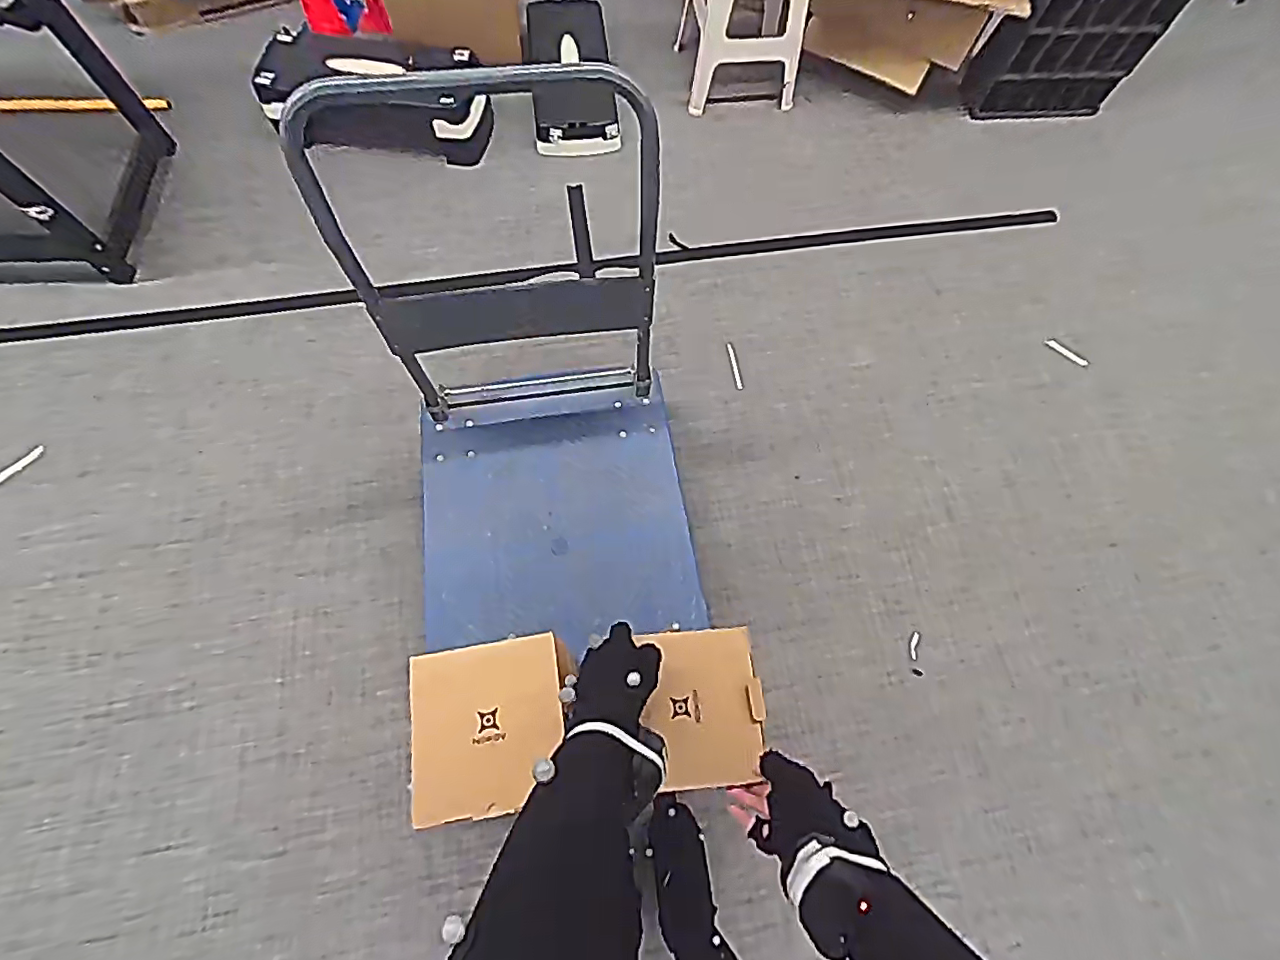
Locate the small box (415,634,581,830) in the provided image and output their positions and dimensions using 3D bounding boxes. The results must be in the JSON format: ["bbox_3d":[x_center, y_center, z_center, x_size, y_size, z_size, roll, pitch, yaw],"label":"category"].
[{"bbox_3d":[-0.167,0.301,0.669,0.168,0.176,0.179,-9,70,-6],"label":"small box"}]

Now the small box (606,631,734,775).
[{"bbox_3d":[0.035,0.341,0.839,0.168,0.176,0.179,-6,70,-5],"label":"small box"}]
